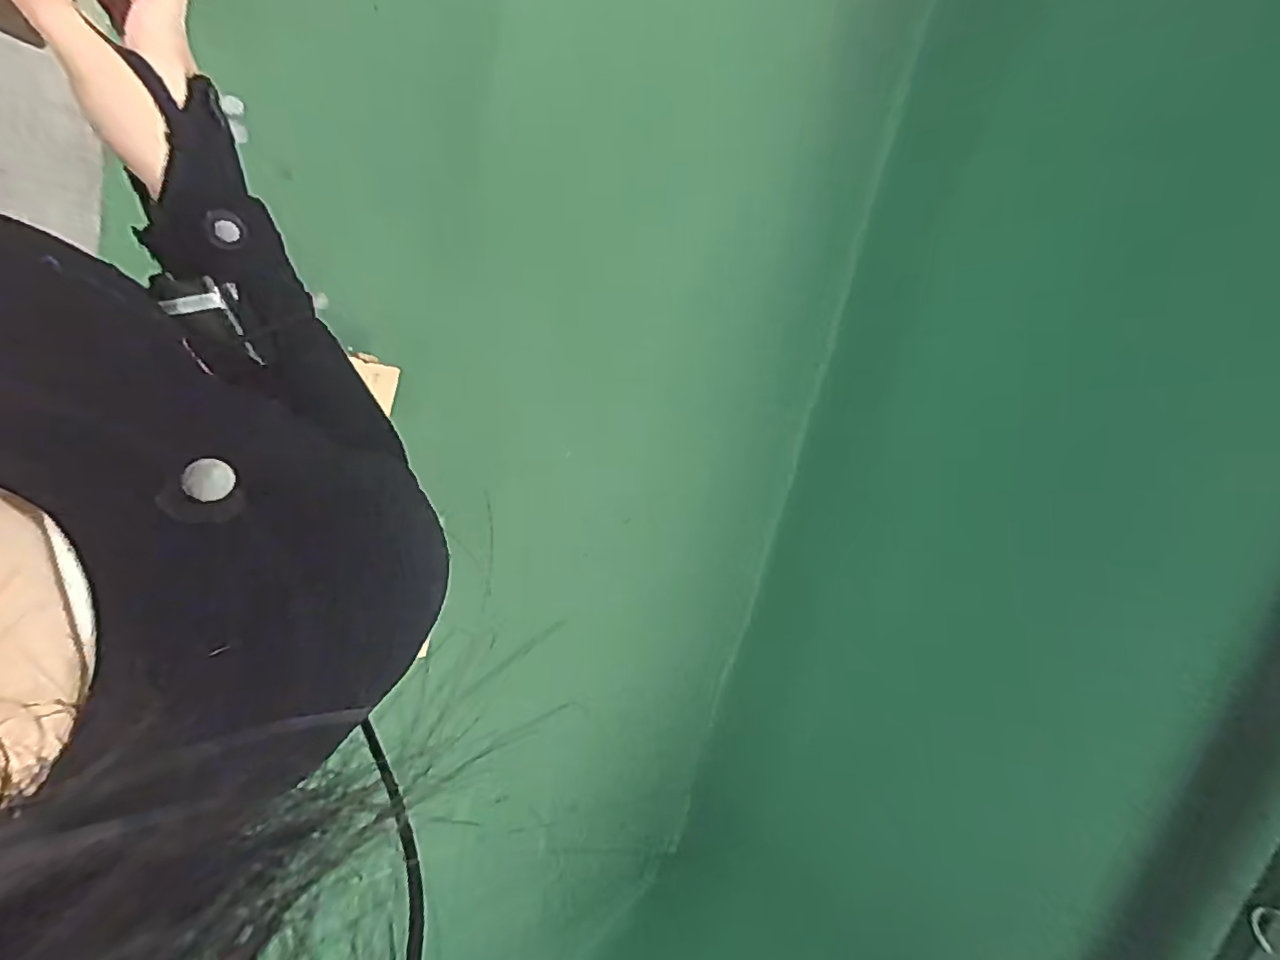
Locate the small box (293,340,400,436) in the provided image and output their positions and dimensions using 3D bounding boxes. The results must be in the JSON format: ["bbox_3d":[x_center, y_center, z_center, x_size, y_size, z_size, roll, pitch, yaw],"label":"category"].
[{"bbox_3d":[-0.715,-0.223,1.308,0.168,0.176,0.179,9,101,-51],"label":"small box"}]

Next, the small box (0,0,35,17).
[{"bbox_3d":[-0.388,-0.351,0.236,0.179,0.176,0.168,0,108,-50],"label":"small box"}]
